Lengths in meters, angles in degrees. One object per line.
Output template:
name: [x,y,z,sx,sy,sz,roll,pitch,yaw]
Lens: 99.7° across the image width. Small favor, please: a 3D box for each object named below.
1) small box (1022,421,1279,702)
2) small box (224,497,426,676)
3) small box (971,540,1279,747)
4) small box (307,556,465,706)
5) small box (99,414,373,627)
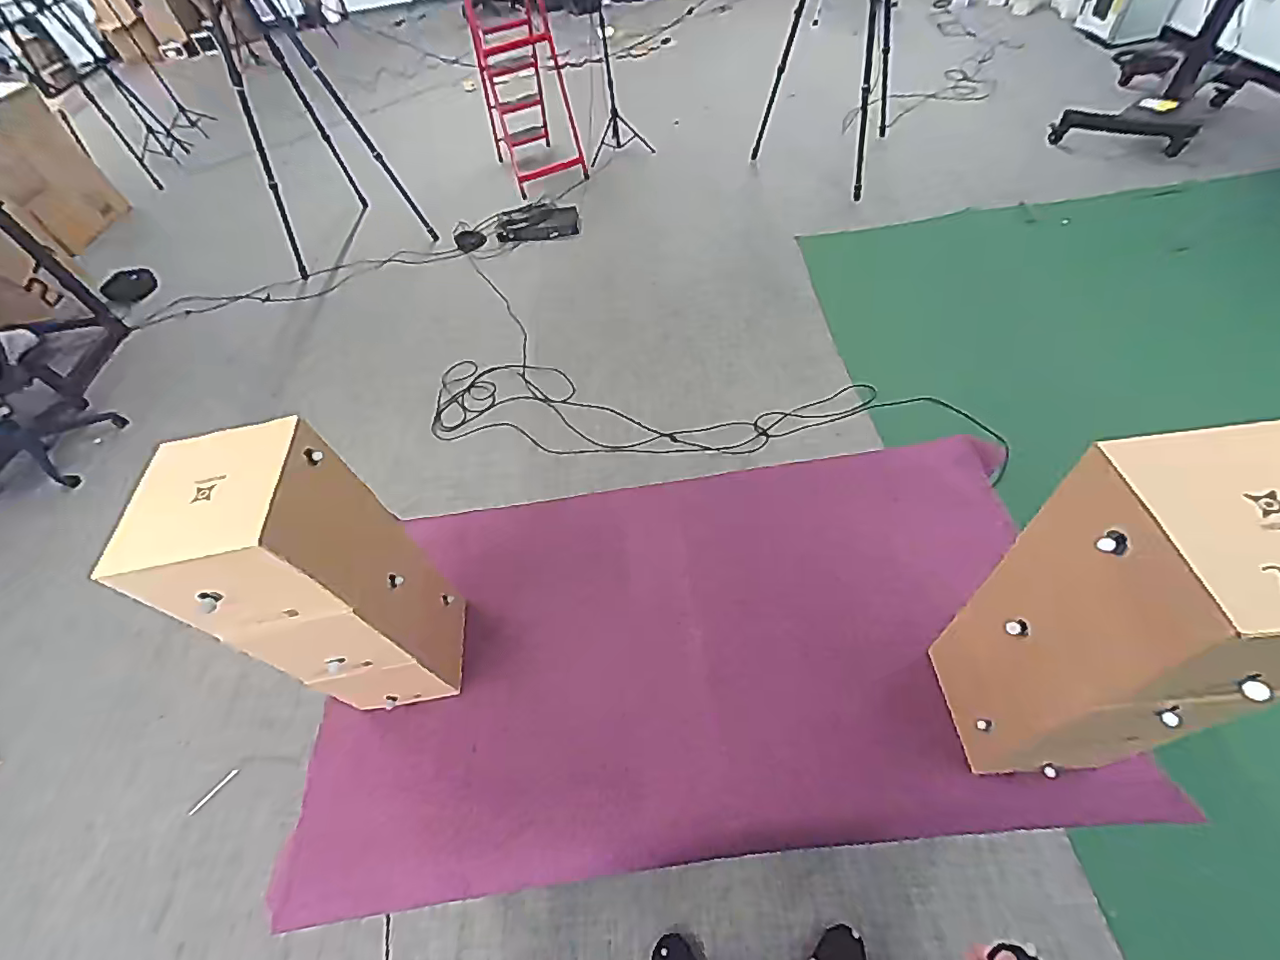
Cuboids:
small box: [0.478,0.074,0.466,0.168,0.176,0.179,-7,53,5]
small box: [-0.417,0.152,0.756,0.168,0.176,0.179,-11,53,1]
small box: [0.501,0.176,0.594,0.168,0.176,0.179,-6,52,6]
small box: [-0.399,0.250,0.885,0.168,0.176,0.179,-10,53,1]
small box: [-0.438,0.056,0.626,0.168,0.176,0.179,-12,52,1]
